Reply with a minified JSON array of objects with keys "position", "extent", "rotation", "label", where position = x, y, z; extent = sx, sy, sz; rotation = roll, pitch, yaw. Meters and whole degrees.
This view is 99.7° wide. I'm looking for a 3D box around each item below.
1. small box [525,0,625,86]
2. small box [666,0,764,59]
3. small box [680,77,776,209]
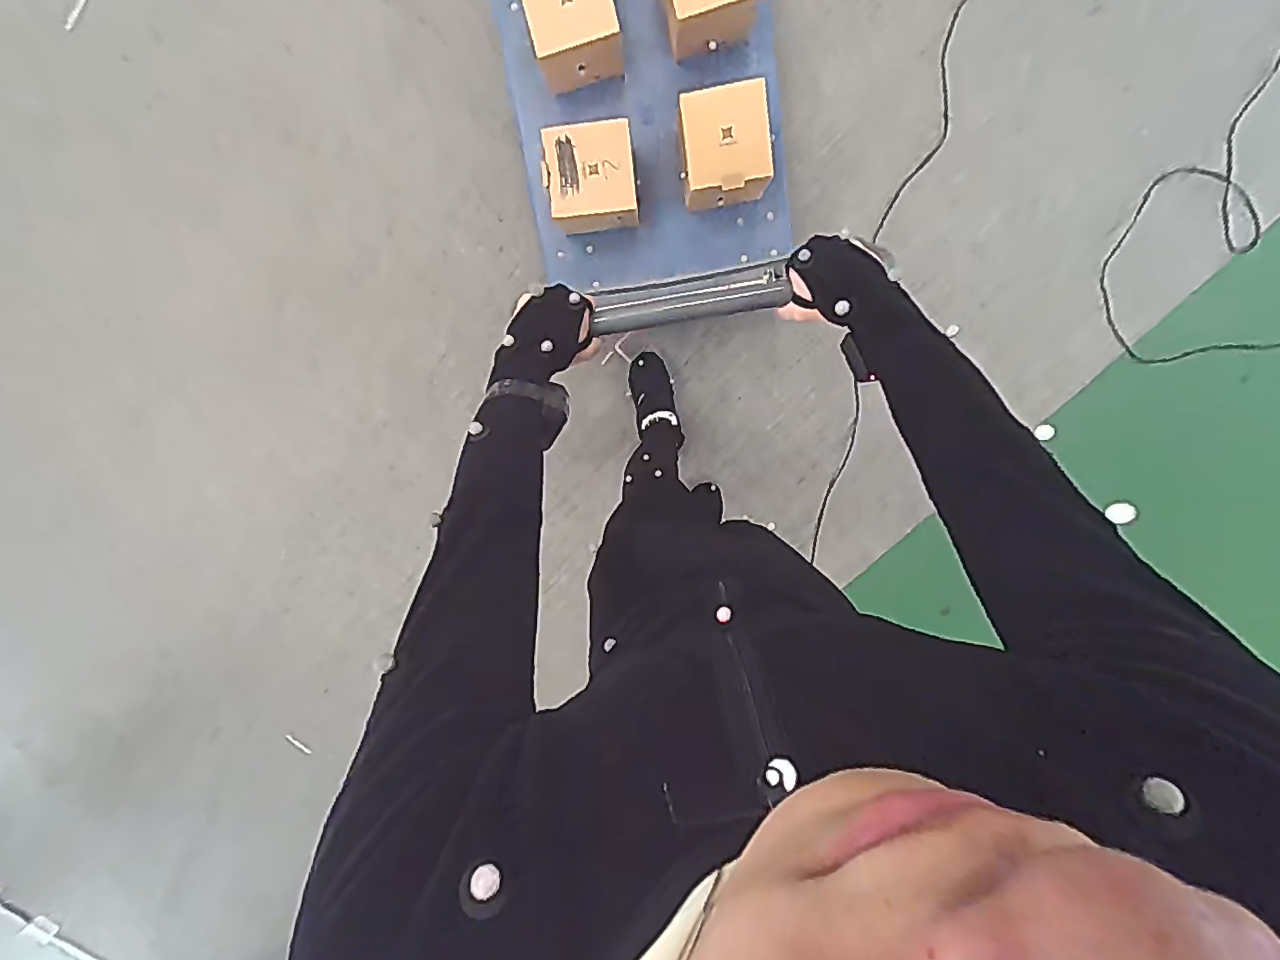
[{"position":[-0.130,-0.921,1.071],"extent":[0.168,0.176,0.179],"rotation":[-14,104,4],"label":"small box"},{"position":[0.135,-0.974,1.049],"extent":[0.168,0.176,0.179],"rotation":[-13,105,6],"label":"small box"},{"position":[0.177,-0.688,1.123],"extent":[0.168,0.176,0.179],"rotation":[-9,105,4],"label":"small box"}]
